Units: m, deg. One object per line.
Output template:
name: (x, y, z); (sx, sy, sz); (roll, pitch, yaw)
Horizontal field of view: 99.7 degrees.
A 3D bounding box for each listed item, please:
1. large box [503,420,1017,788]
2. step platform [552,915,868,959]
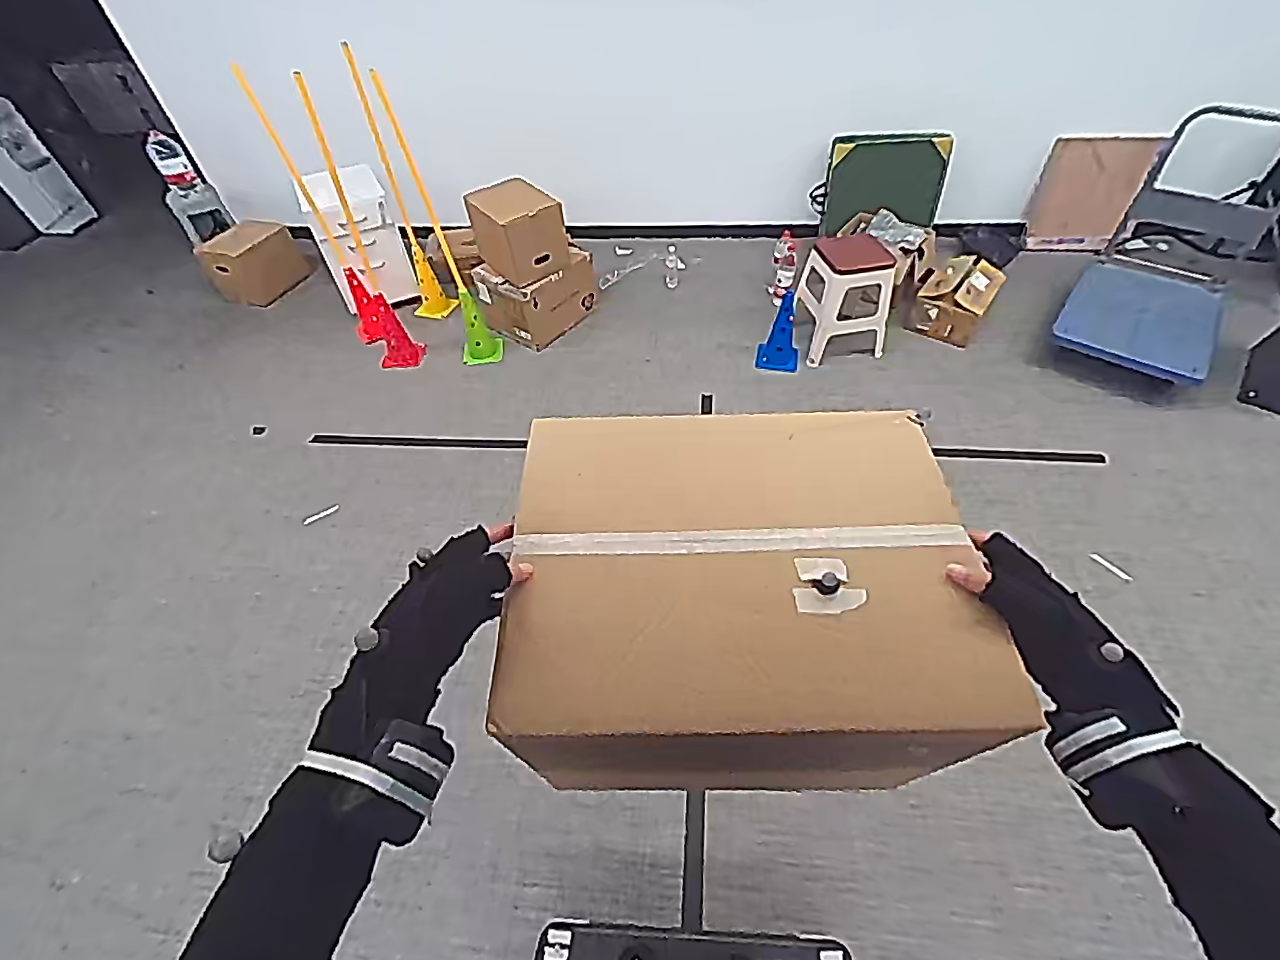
large box: (0.090, 0.151, 0.617); (0.408, 0.320, 0.320); (-1, 54, 1)
step platform: (0.143, 1.103, 1.122); (0.684, 0.204, 0.286); (1, 49, 3)
